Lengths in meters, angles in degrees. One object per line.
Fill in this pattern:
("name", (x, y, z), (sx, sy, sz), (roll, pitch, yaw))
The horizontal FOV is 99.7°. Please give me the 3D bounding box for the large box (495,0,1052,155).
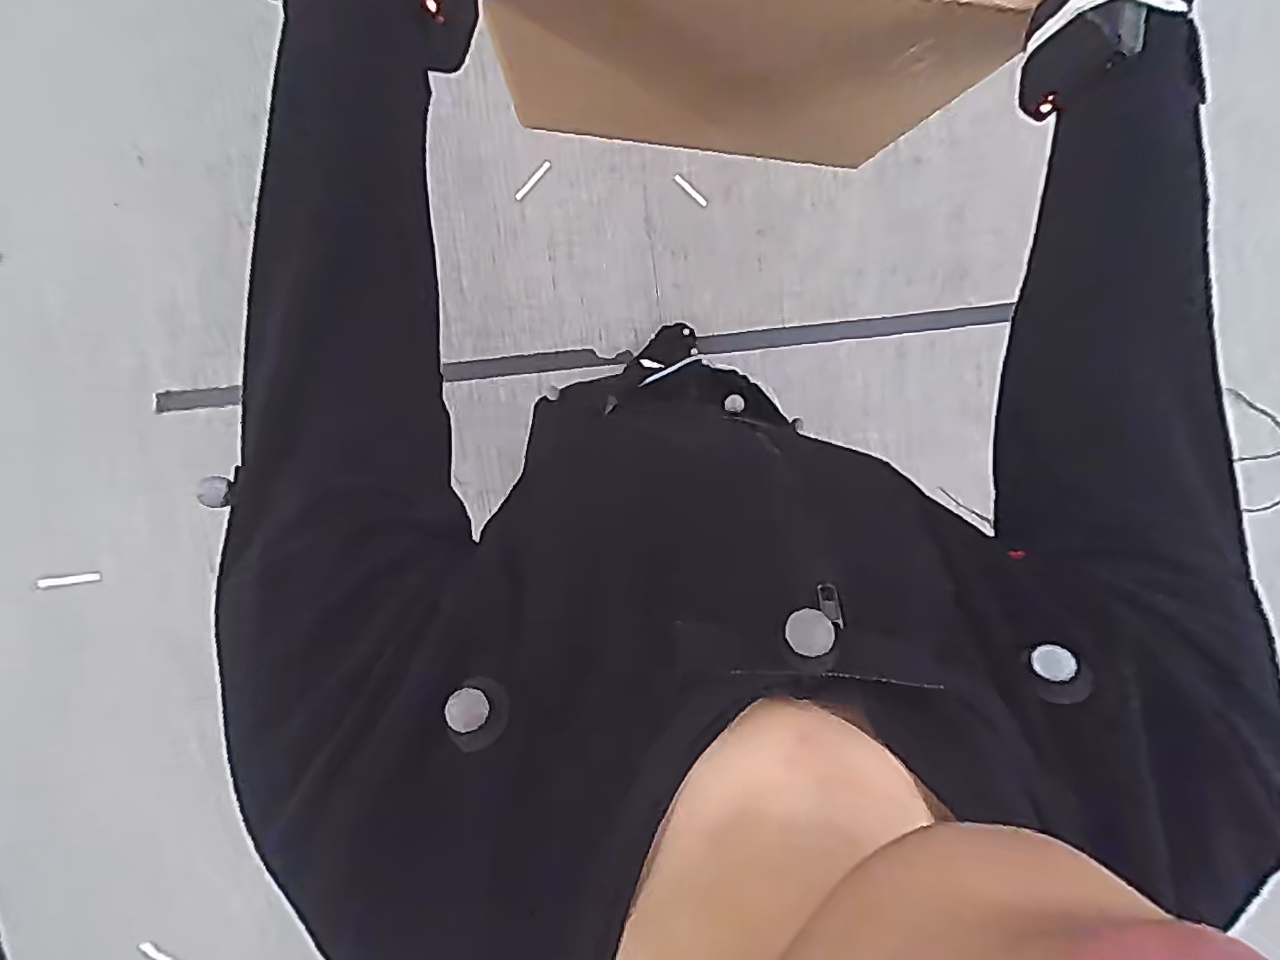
("large box", (0.087, -0.517, 0.463), (0.408, 0.320, 0.320), (3, 104, -6))
